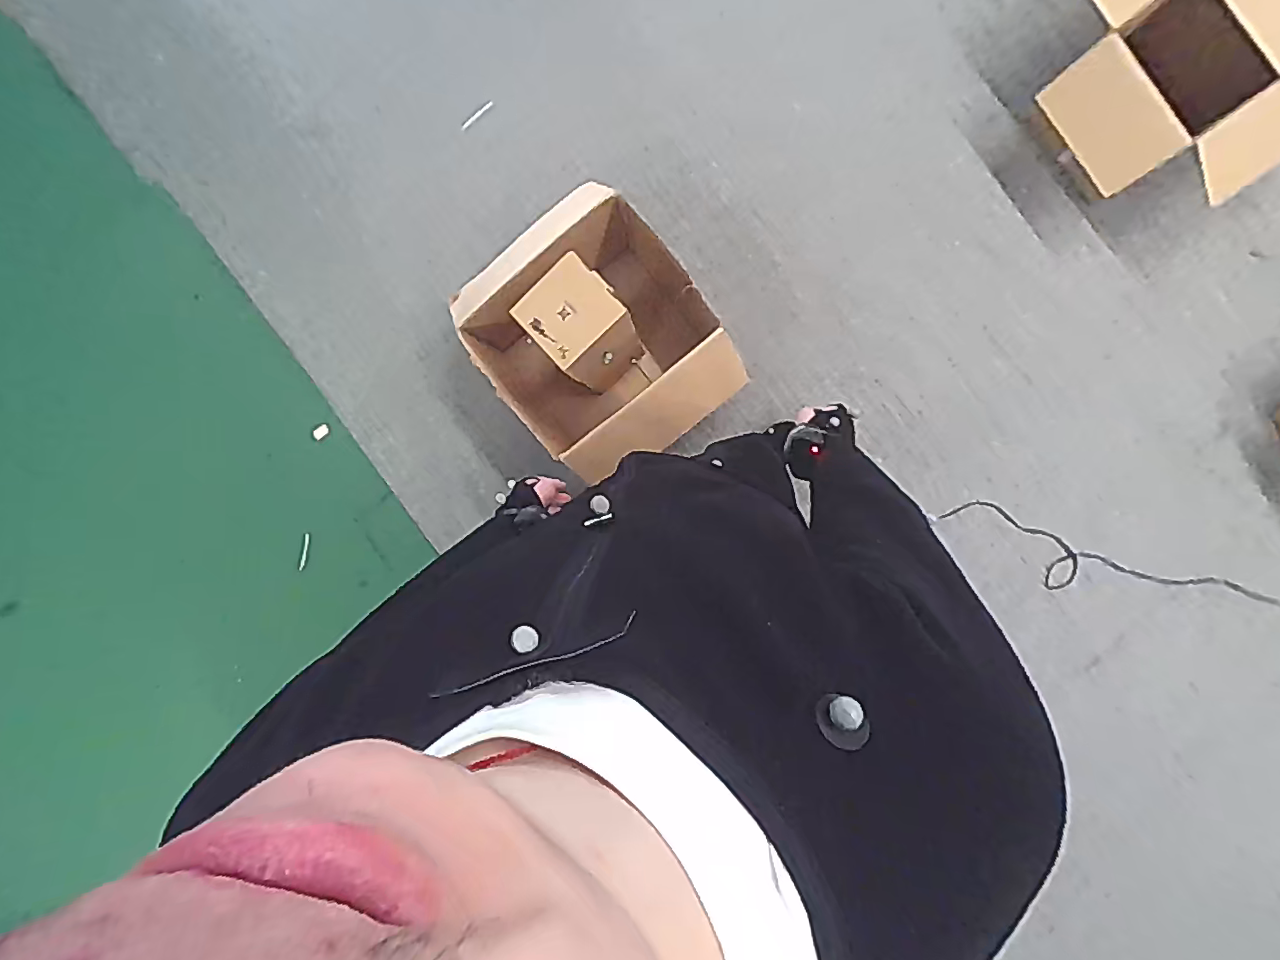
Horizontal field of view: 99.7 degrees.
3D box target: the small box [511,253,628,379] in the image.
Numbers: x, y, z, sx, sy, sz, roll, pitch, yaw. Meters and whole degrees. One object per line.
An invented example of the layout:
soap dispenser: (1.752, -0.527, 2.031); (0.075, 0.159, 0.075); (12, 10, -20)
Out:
small box: (-0.140, -0.340, 1.157); (0.179, 0.176, 0.168); (-45, 89, 5)
